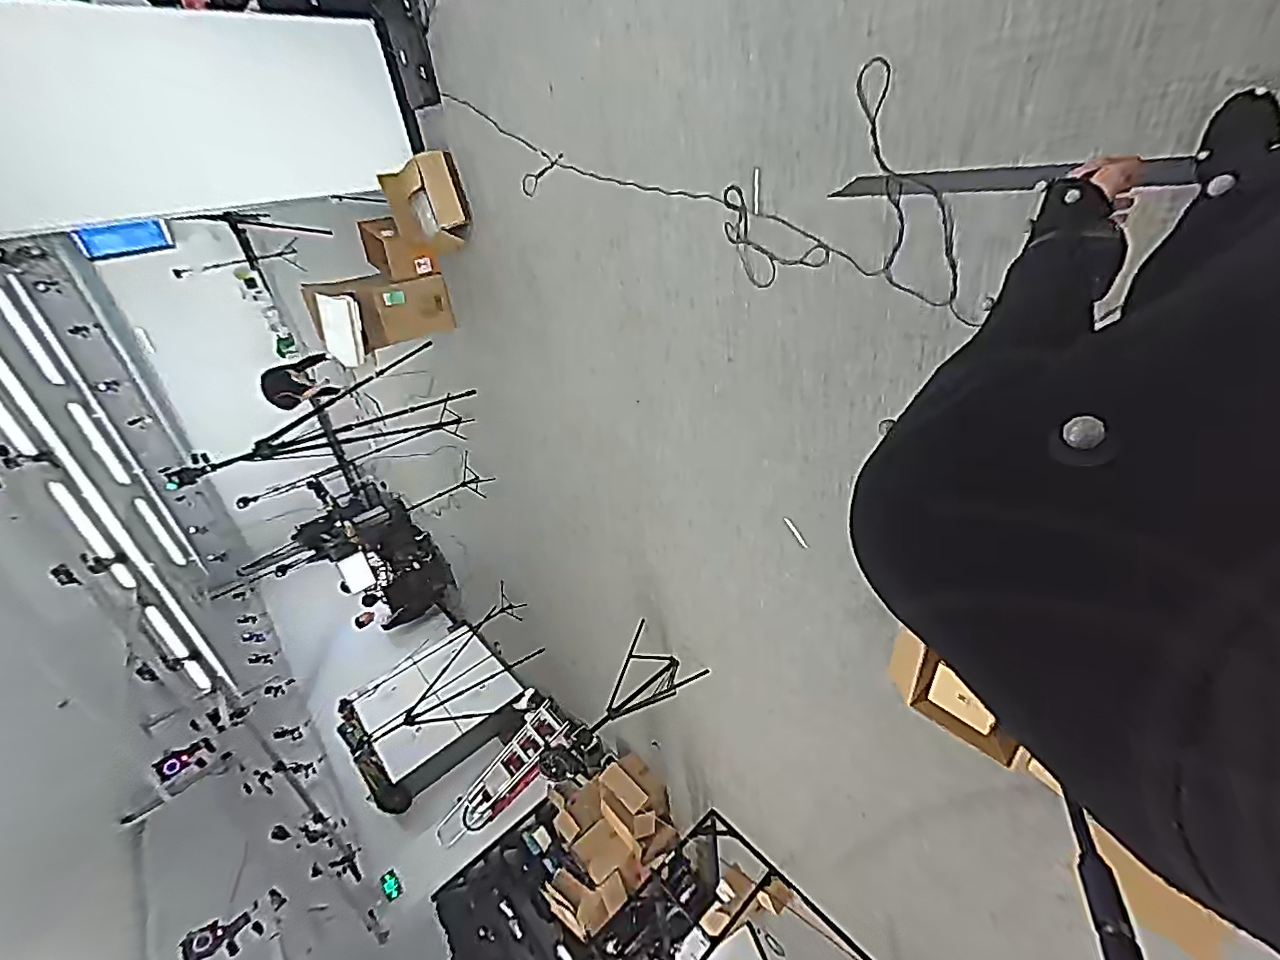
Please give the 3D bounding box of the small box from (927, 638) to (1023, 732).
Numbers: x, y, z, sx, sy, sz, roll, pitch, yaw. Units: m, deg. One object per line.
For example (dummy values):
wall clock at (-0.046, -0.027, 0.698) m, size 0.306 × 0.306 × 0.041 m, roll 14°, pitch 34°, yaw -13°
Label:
small box at (1.013, 0.610, 1.638) m, size 0.179 × 0.176 × 0.168 m, roll 28°, pitch 133°, yaw 42°
